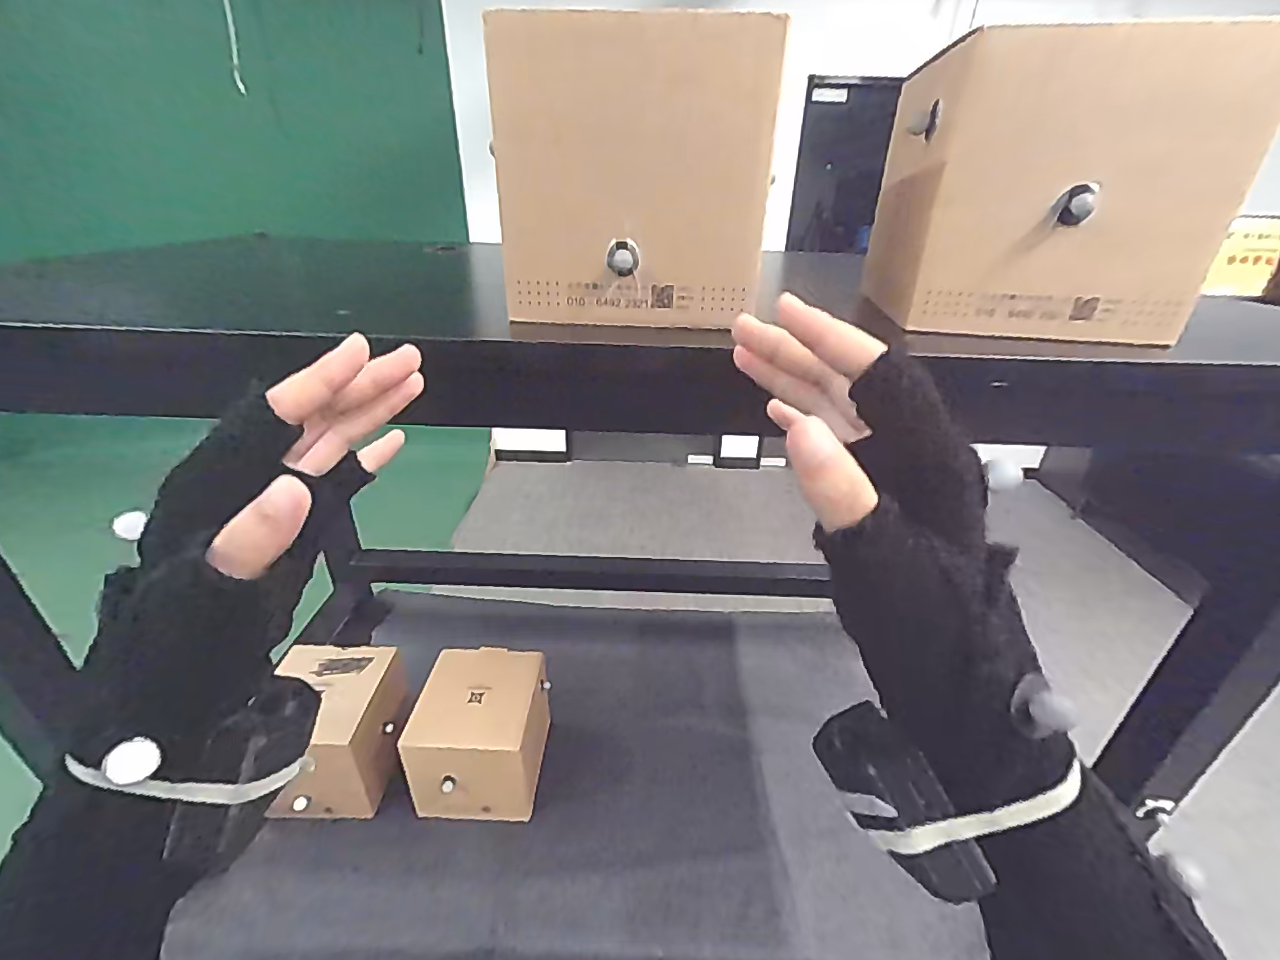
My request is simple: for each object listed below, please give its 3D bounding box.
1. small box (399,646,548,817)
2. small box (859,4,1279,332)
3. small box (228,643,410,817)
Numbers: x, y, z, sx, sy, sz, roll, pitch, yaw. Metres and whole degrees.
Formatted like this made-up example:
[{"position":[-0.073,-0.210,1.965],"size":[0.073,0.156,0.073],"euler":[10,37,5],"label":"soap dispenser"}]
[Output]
[{"position":[-0.237,0.379,0.822],"size":[0.168,0.176,0.179],"euler":[2,27,1],"label":"small box"},{"position":[0.273,-0.211,0.395],"size":[0.168,0.176,0.179],"euler":[6,28,8],"label":"small box"},{"position":[-0.464,0.372,0.819],"size":[0.168,0.176,0.179],"euler":[1,28,-1],"label":"small box"}]
